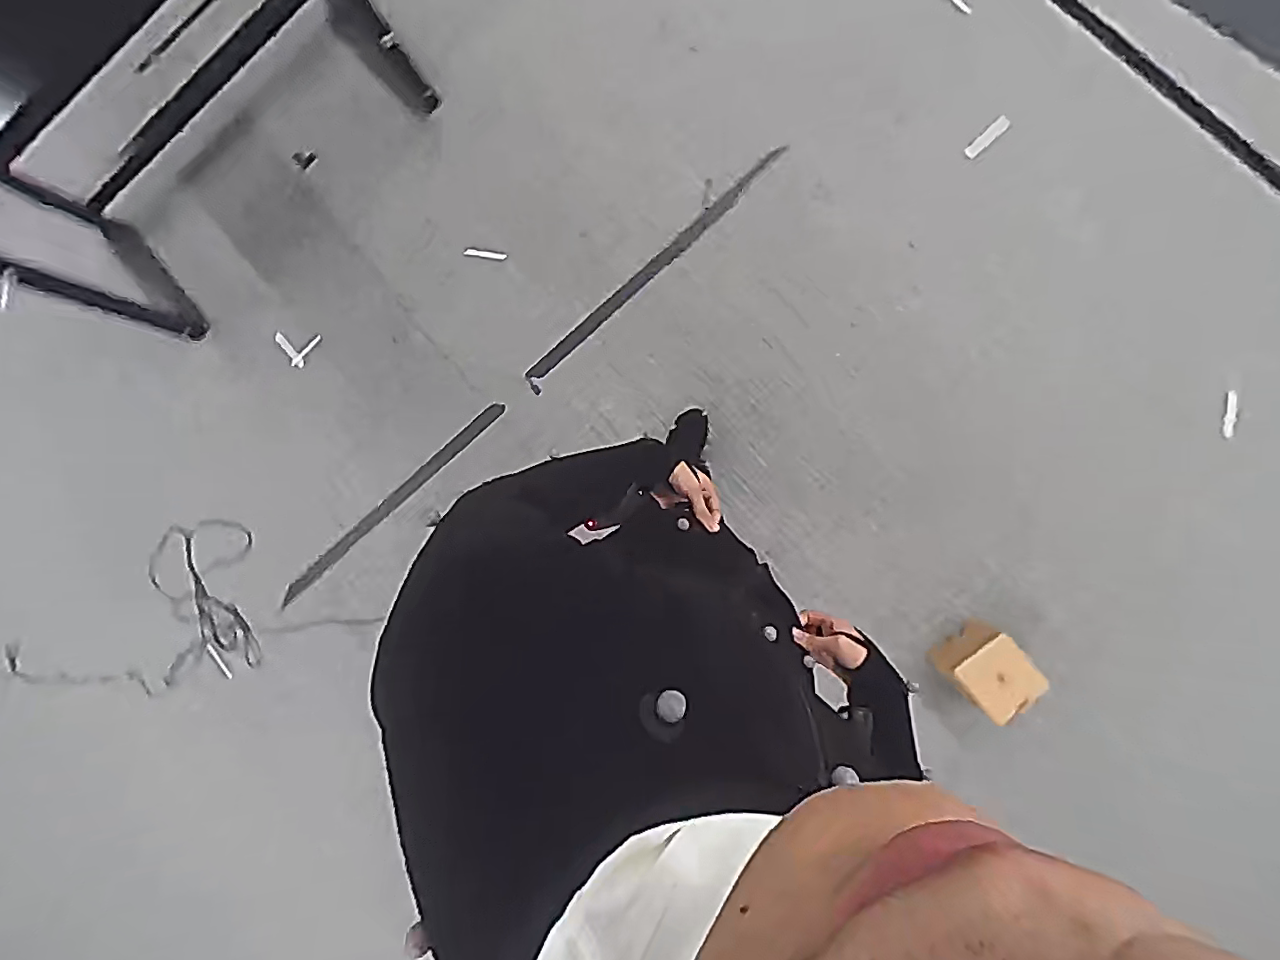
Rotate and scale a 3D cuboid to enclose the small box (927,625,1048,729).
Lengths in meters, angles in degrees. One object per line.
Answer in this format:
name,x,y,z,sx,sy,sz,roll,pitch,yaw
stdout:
small box,0.913,0.513,1.439,0.168,0.176,0.179,-39,84,2
